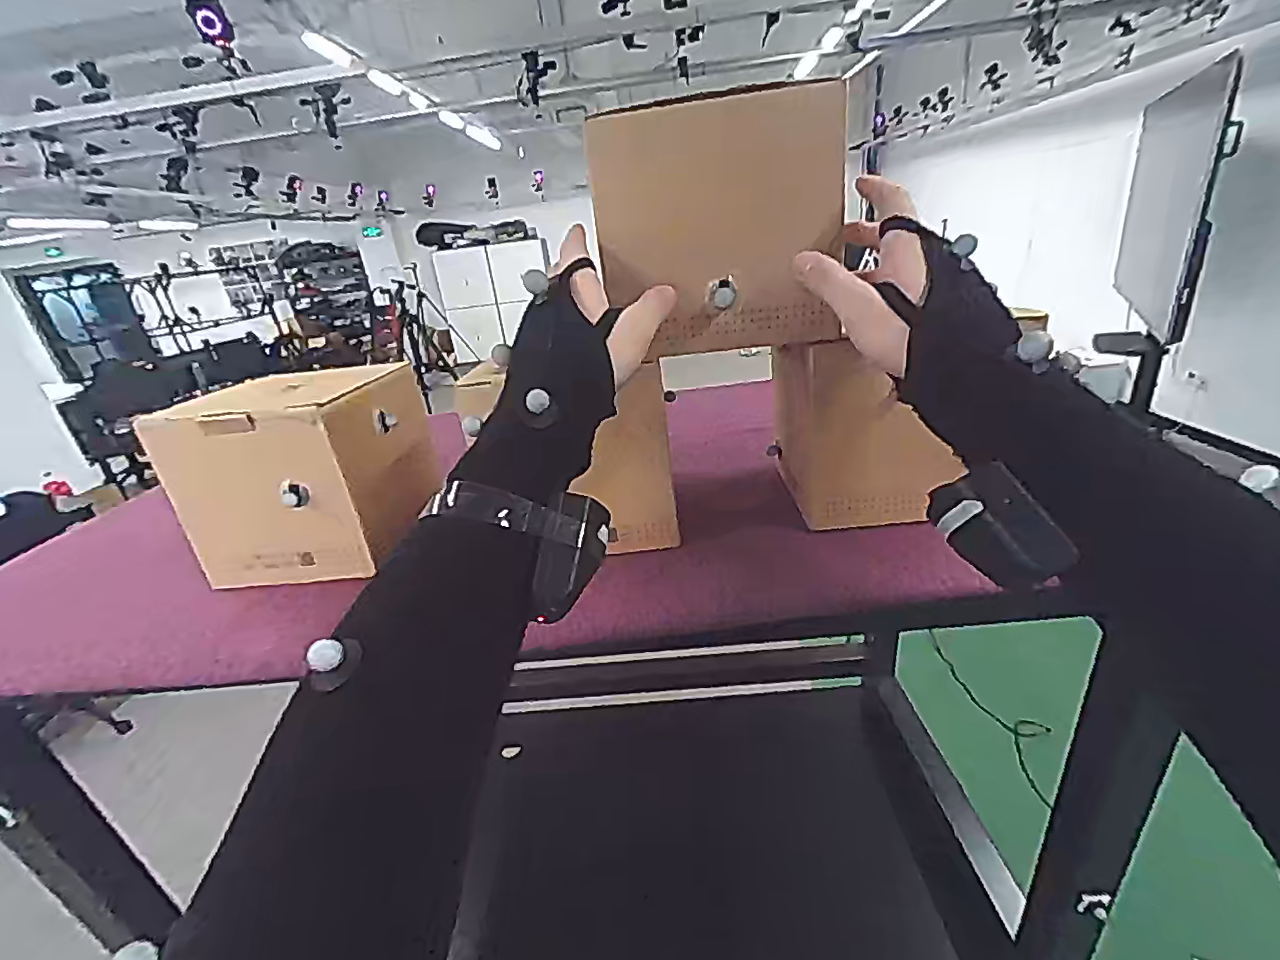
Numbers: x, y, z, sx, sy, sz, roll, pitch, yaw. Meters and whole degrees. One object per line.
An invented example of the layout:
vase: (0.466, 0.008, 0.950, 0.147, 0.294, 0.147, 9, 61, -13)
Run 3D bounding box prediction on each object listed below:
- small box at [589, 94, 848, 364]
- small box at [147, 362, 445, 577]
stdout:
small box: (0.063, -0.203, 0.465, 0.179, 0.176, 0.168, -4, 23, 5)
small box: (-0.320, -0.013, 0.551, 0.168, 0.176, 0.179, -4, 23, 5)
